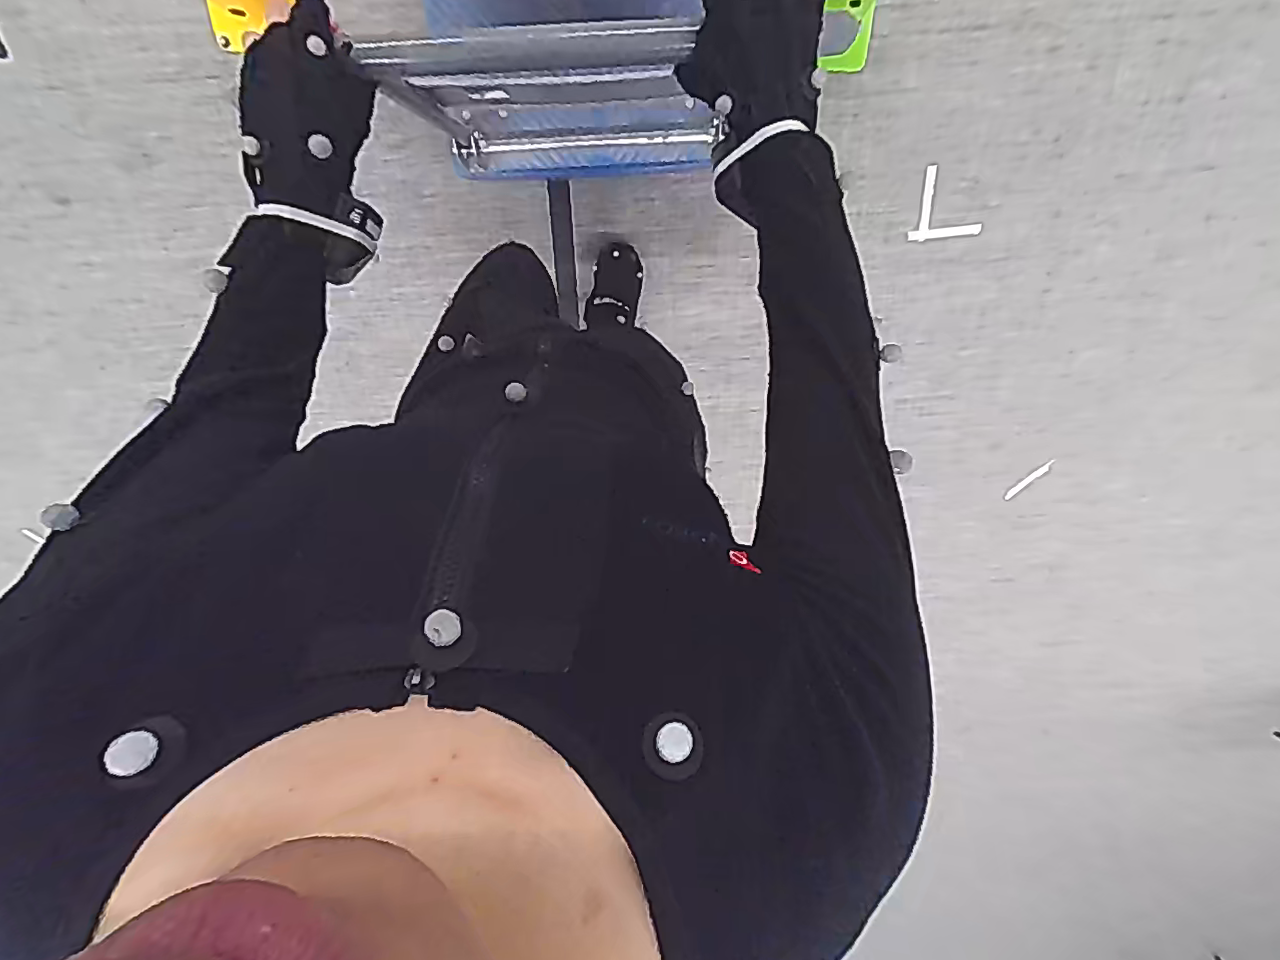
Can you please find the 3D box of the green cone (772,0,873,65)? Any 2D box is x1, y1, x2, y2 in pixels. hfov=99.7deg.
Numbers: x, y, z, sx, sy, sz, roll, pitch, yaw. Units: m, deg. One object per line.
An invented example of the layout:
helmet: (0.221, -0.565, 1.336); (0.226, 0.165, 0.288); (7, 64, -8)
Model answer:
green cone: (0.384, -0.894, 0.947); (0.202, 0.368, 0.200); (0, 117, -3)
